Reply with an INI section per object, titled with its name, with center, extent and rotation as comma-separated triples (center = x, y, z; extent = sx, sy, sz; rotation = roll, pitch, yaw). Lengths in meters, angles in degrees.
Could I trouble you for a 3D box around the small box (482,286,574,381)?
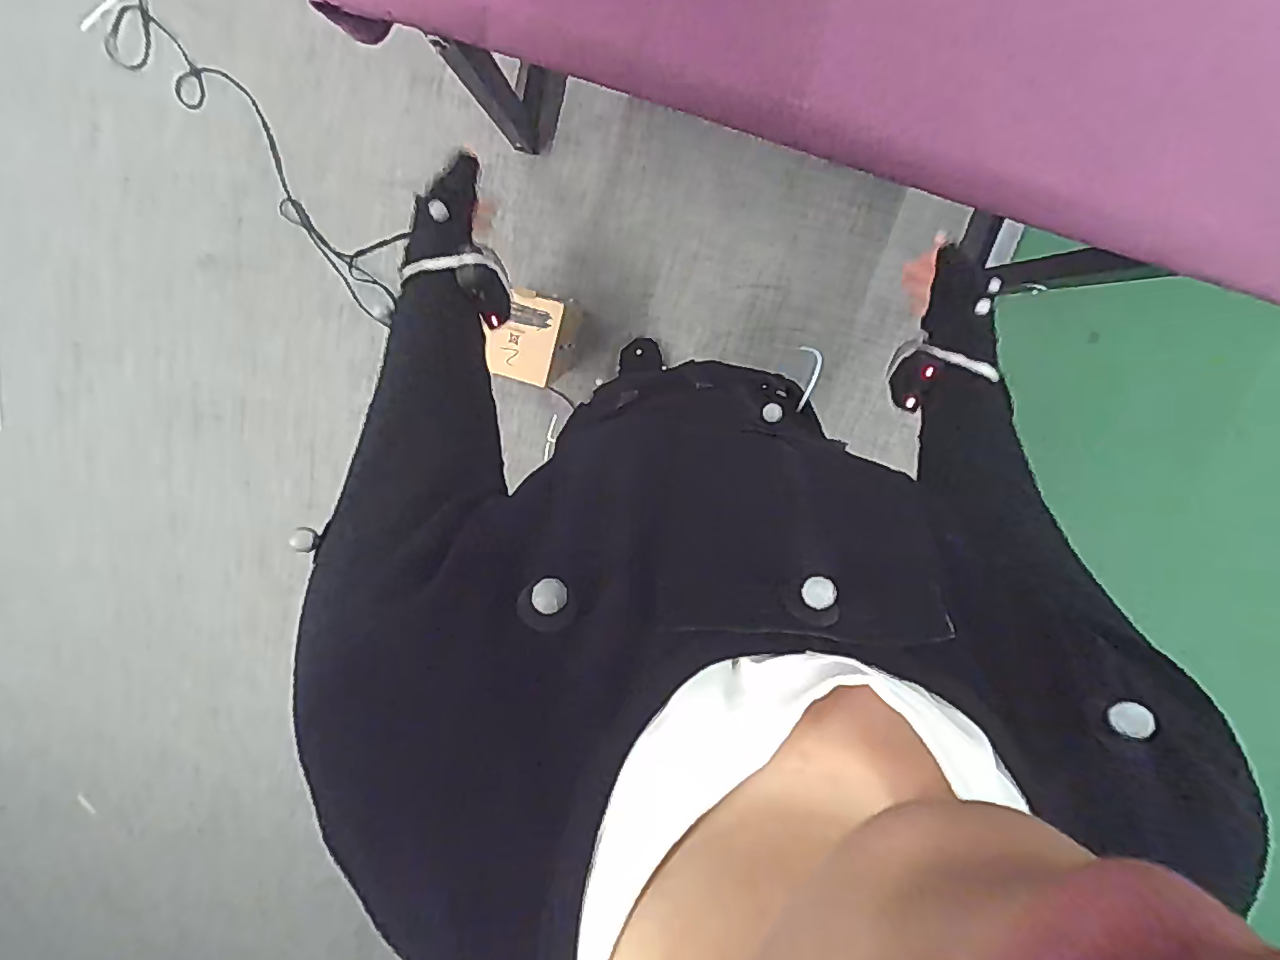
[small box]
center = -0.267, -0.358, 1.325
extent = 0.168, 0.176, 0.179
rotation = 17, 106, -3
